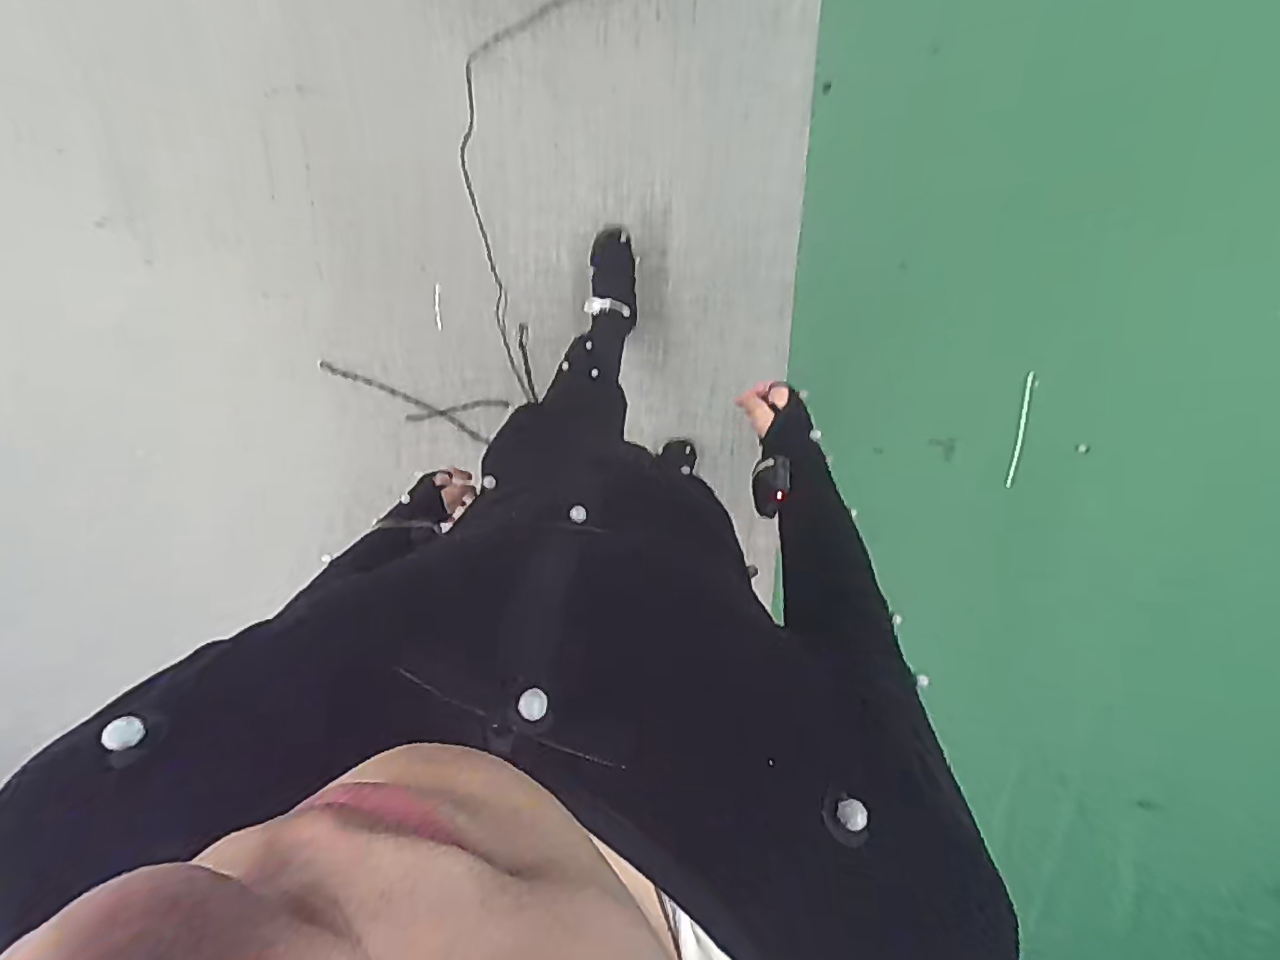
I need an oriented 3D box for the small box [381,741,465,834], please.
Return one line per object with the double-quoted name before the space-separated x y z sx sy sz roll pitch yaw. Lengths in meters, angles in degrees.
"small box" -0.612 0.876 1.552 0.179 0.176 0.168 2 102 3
